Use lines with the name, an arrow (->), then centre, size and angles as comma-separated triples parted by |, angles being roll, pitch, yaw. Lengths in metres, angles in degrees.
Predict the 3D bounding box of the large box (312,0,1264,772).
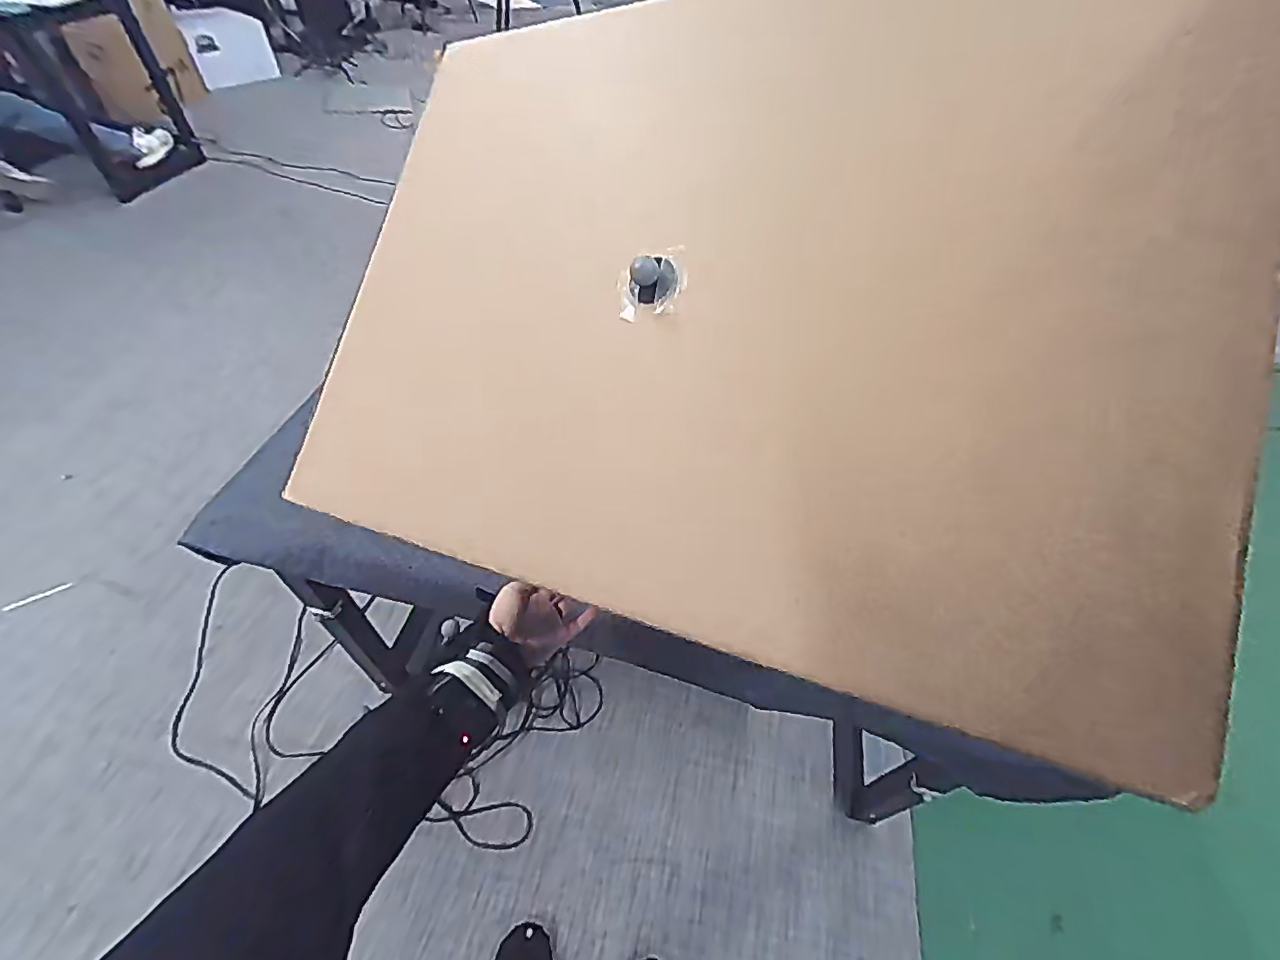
large box -> 0.070, -0.054, 0.389 | 0.408, 0.320, 0.320 | 10, 81, 24
